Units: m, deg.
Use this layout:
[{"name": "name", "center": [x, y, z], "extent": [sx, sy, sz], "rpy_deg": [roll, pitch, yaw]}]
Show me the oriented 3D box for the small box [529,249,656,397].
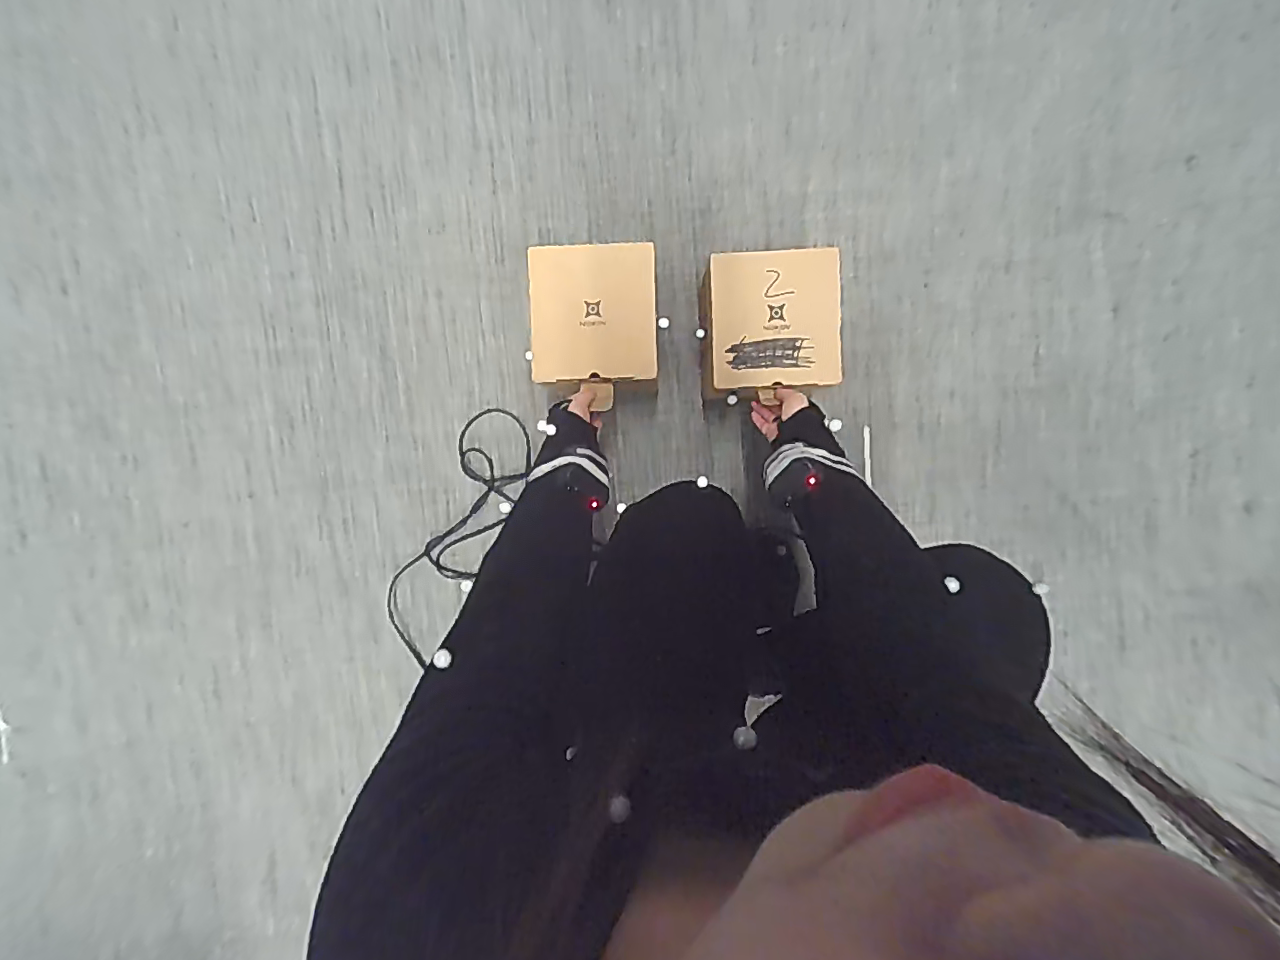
[{"name": "small box", "center": [-0.061, -0.217, 0.786], "extent": [0.168, 0.176, 0.179], "rpy_deg": [-1, 94, 2]}]
